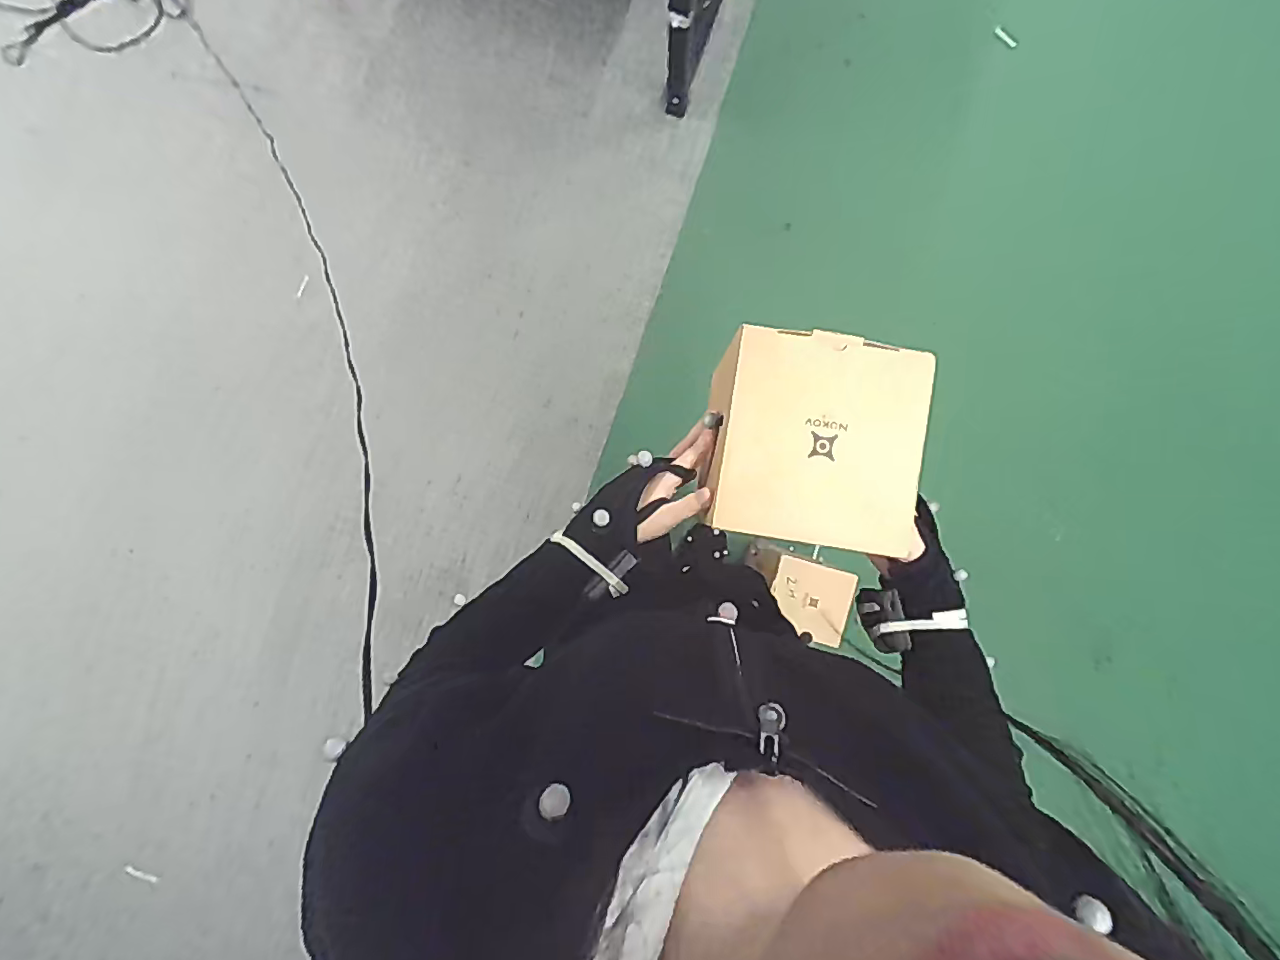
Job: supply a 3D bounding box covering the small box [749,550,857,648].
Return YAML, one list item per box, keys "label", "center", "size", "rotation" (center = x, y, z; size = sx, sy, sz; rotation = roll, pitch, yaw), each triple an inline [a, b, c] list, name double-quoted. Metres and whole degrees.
- label: "small box"
  center: [0.369, 0.266, 1.255]
  size: [0.179, 0.176, 0.168]
  rotation: [17, 89, 2]

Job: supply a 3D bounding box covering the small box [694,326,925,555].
- label: "small box"
  center: [0.148, -0.030, 0.531]
  size: [0.168, 0.176, 0.179]
  rotation: [8, 87, 1]
